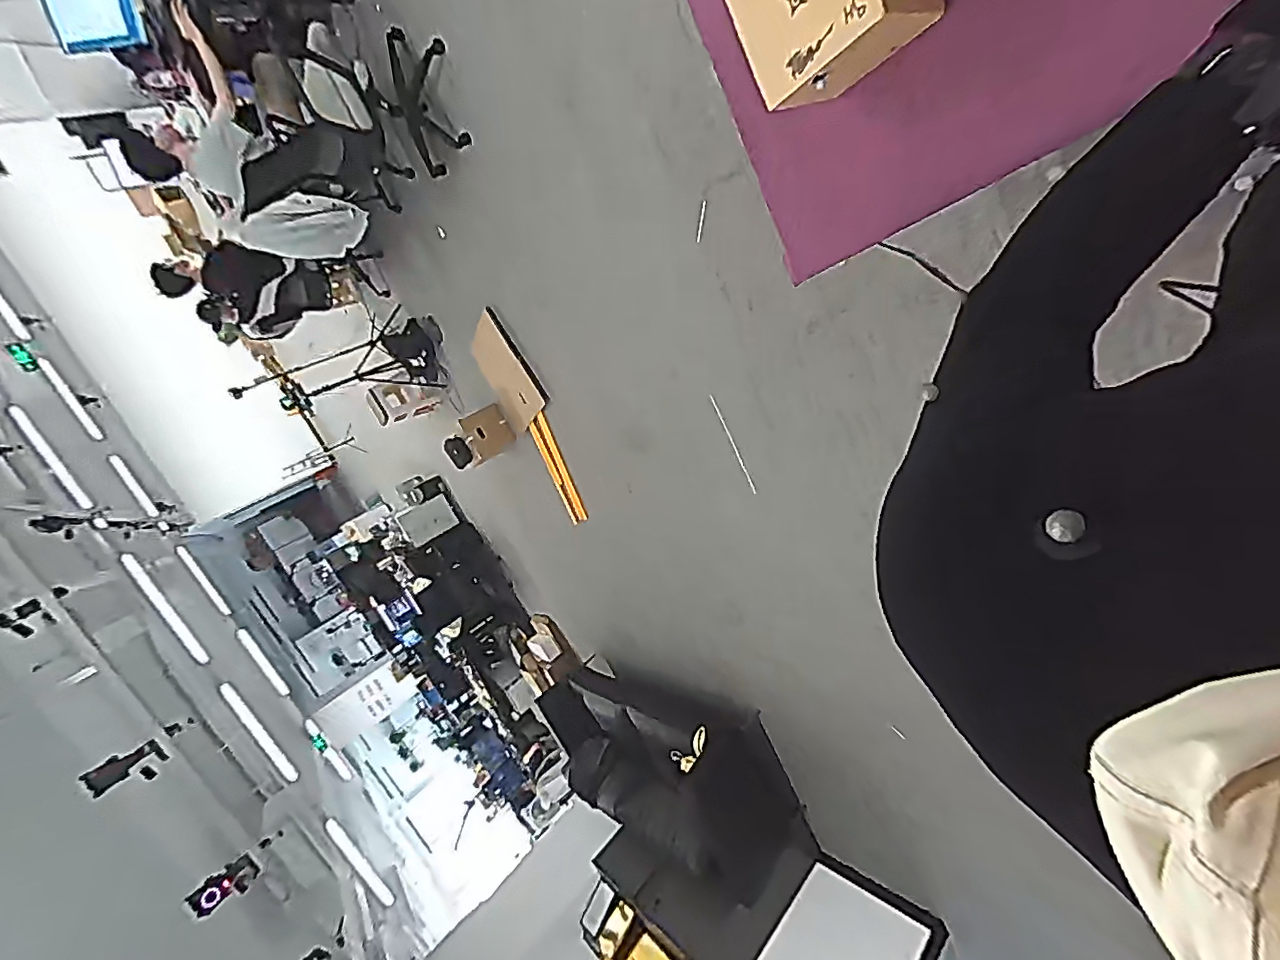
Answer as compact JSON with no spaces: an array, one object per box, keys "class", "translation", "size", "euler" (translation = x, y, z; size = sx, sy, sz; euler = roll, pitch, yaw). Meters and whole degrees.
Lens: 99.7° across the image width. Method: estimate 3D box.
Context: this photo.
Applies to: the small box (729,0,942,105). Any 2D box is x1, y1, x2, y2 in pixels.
[{"class":"small box","translation":[0.235,-0.605,0.664],"size":[0.168,0.176,0.179],"euler":[-7,113,56]}]
